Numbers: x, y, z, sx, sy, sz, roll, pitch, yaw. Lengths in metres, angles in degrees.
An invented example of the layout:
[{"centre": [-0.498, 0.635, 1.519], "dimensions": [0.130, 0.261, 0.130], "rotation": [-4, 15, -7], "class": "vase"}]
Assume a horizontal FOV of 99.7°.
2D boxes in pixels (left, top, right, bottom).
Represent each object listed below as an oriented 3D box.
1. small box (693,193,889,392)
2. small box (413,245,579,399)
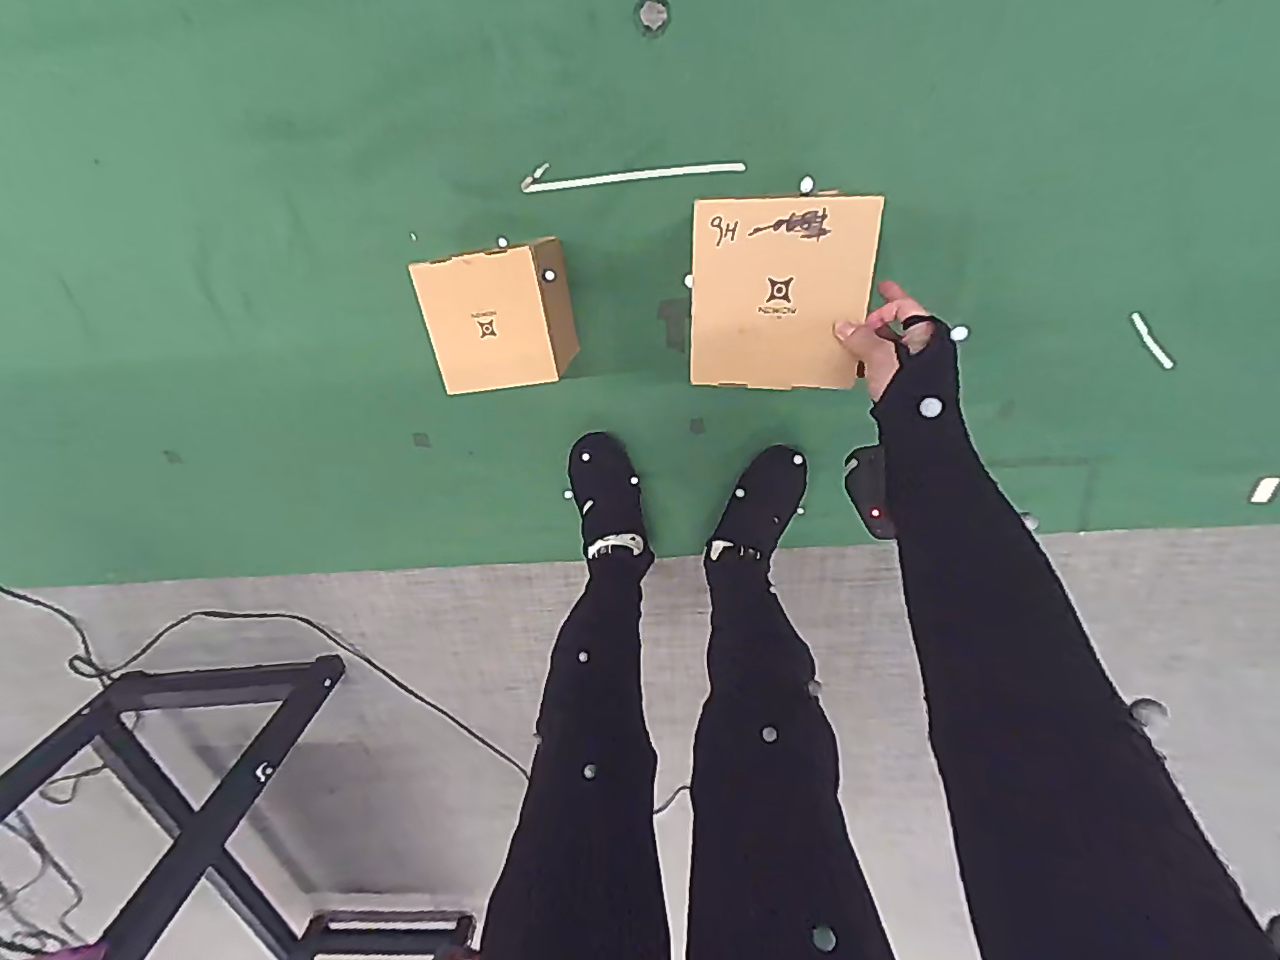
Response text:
[{"centre": [0.148, -0.207, 0.581], "dimensions": [0.168, 0.176, 0.179], "rotation": [3, 118, 9], "class": "small box"}, {"centre": [-0.193, -0.234, 0.786], "dimensions": [0.168, 0.176, 0.179], "rotation": [-6, 115, 7], "class": "small box"}]
